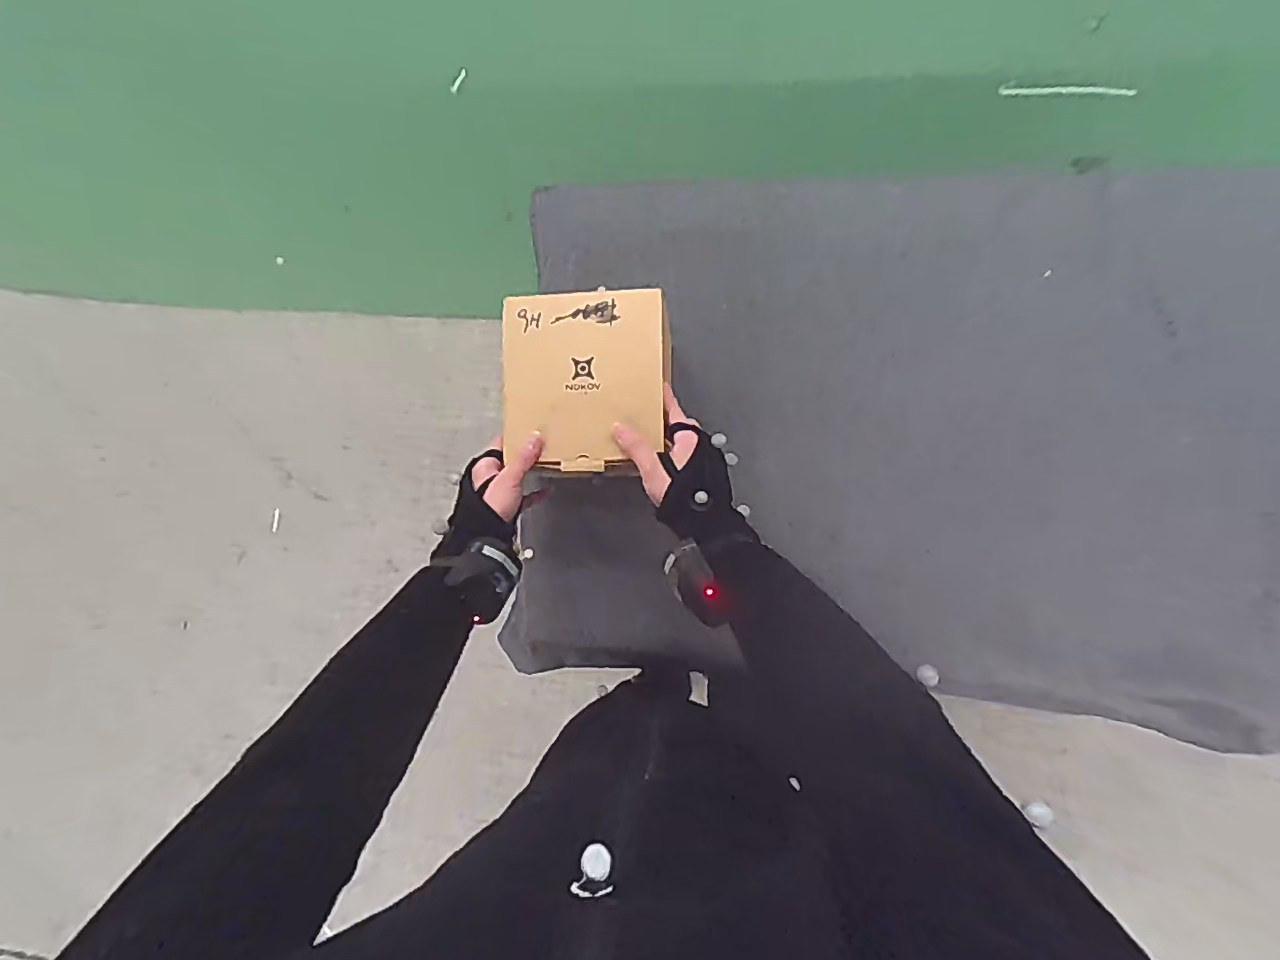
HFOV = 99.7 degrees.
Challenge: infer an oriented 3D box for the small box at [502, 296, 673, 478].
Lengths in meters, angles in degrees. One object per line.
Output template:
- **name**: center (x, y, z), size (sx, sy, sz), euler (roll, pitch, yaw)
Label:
- **small box**: center (-0.049, -0.092, 0.621), size (0.168, 0.176, 0.179), euler (-1, 86, 7)
